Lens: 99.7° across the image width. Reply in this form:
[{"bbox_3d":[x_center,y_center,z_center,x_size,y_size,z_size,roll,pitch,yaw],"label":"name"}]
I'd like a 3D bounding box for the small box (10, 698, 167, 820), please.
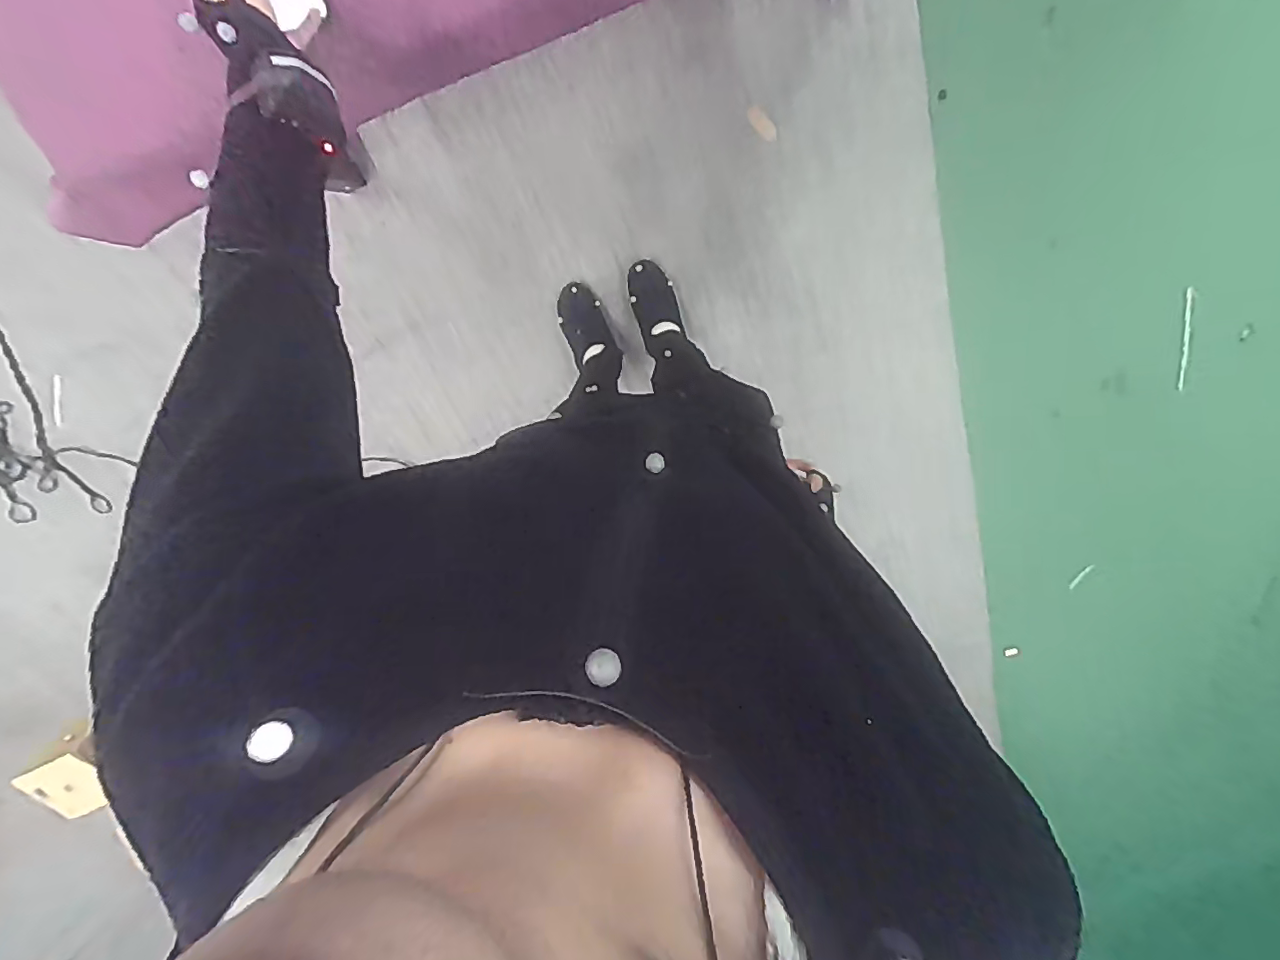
[{"bbox_3d":[-1.303,0.663,1.301,0.179,0.176,0.168,-26,115,4],"label":"small box"}]
